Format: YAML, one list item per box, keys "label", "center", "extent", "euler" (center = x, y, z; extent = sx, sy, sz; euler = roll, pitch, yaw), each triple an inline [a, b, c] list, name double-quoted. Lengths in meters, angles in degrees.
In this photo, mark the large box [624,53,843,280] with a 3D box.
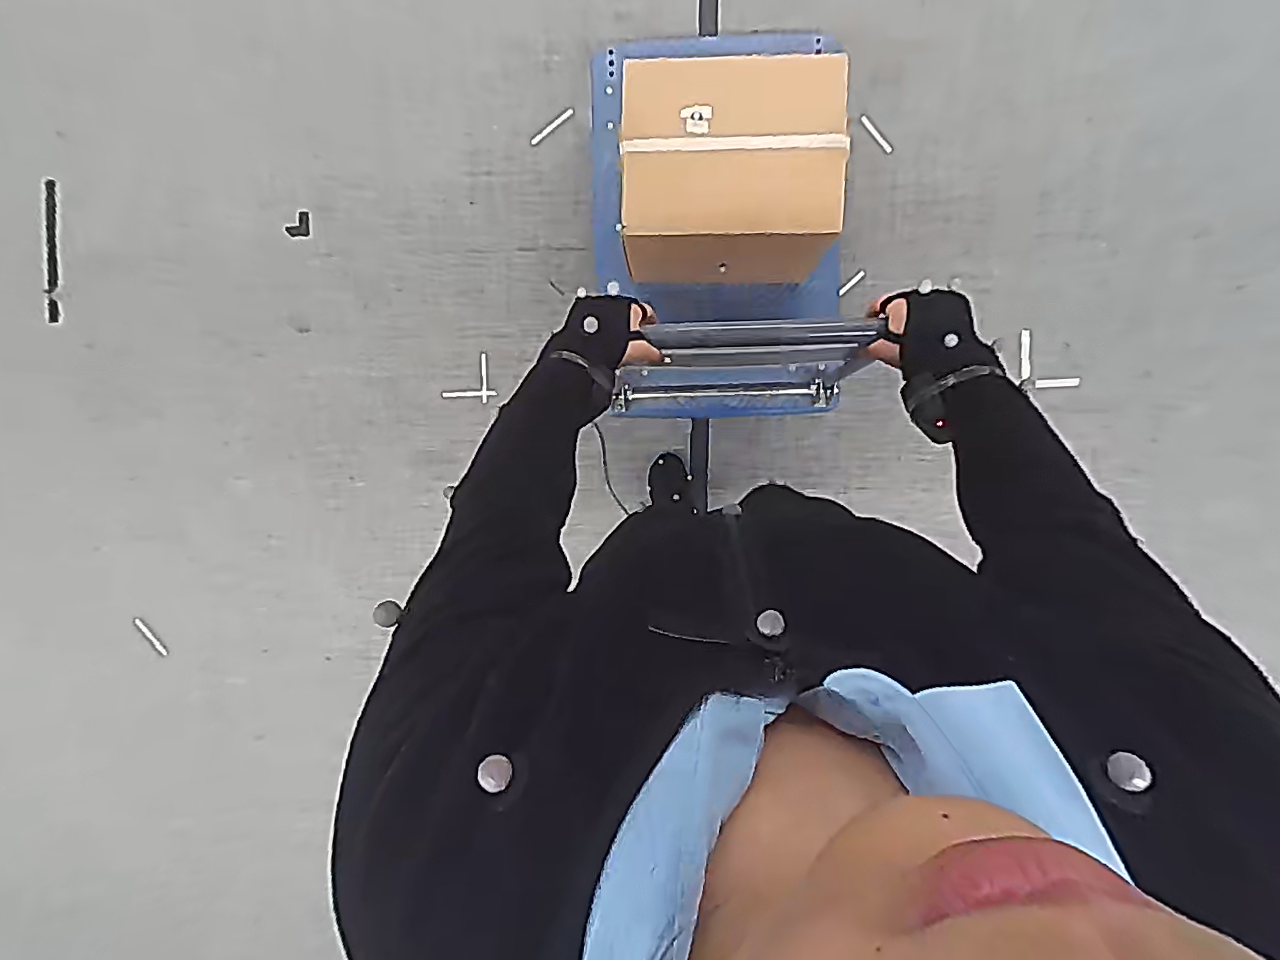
- label: "large box"
  center: [0.181, -0.625, 1.141]
  extent: [0.408, 0.320, 0.320]
  euler: [0, 93, 4]
